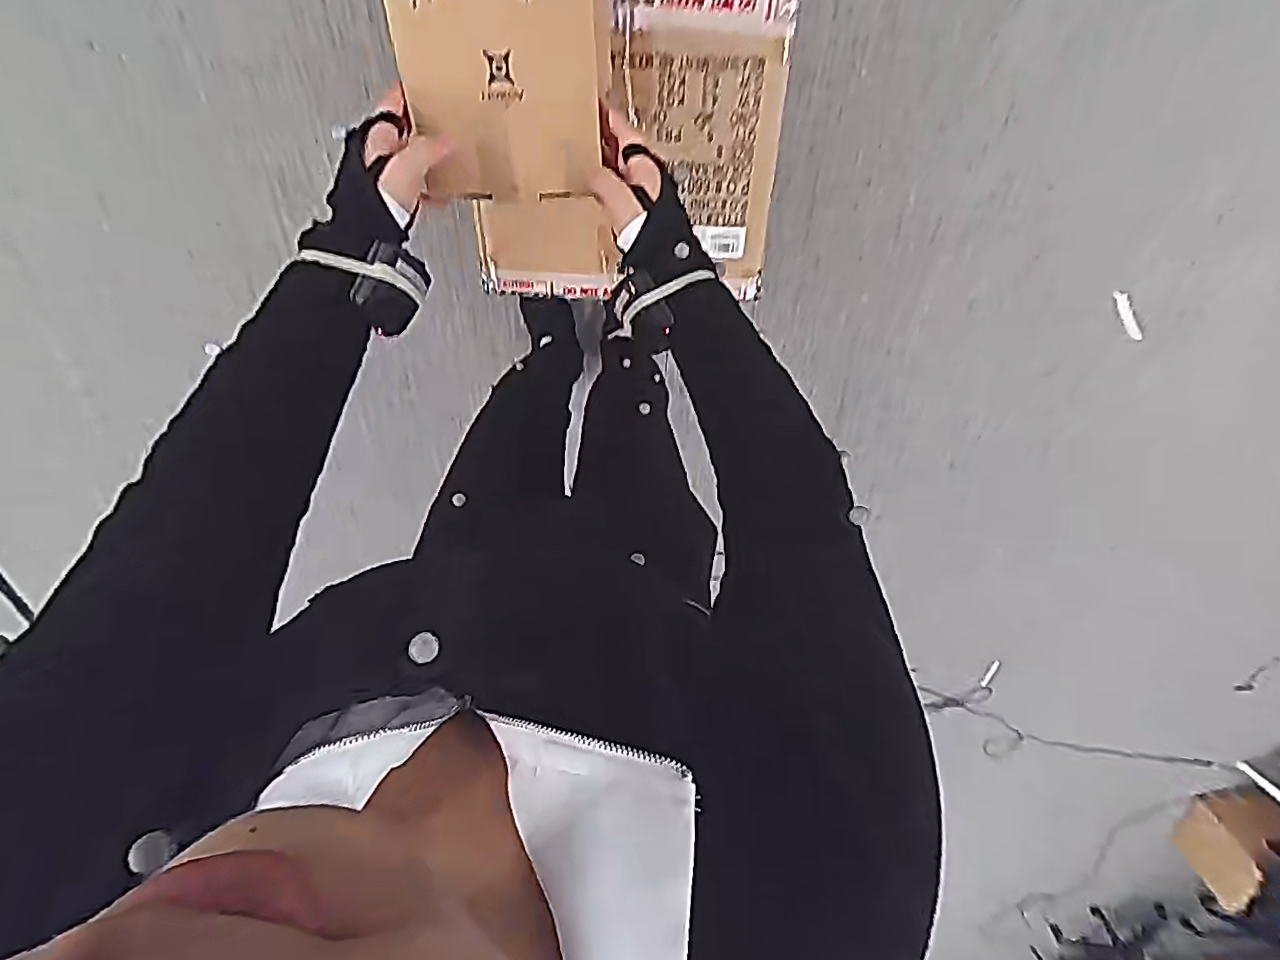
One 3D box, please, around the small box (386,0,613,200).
[{"bbox_3d":[-0.115,-0.381,0.517,0.168,0.176,0.179,1,127,1],"label":"small box"}]
